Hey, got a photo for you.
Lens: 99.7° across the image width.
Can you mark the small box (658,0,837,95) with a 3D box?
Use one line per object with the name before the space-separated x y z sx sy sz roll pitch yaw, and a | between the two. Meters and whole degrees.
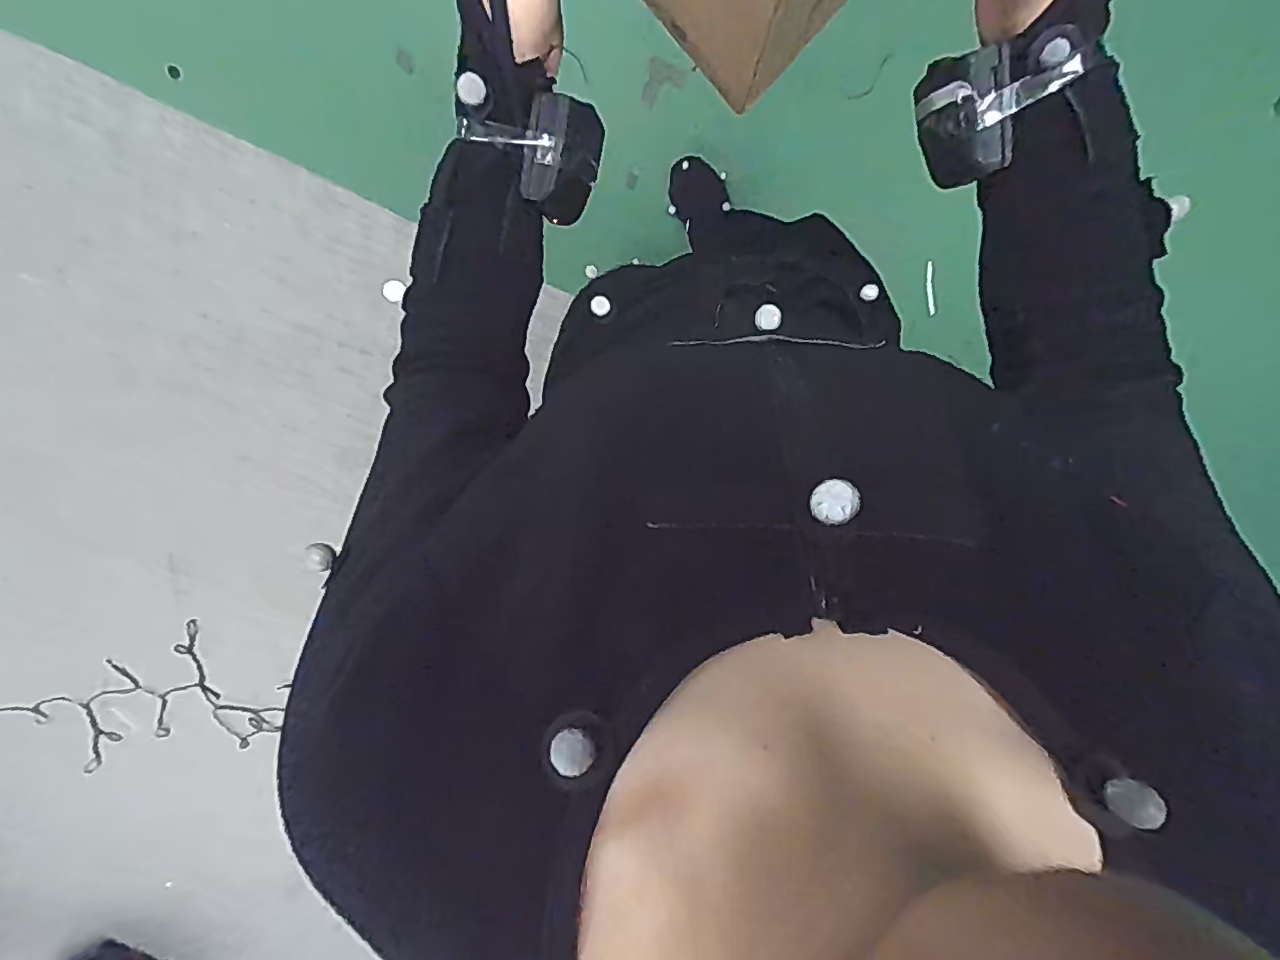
small box | 0.062 -0.334 0.254 0.168 0.176 0.179 43 109 -10
